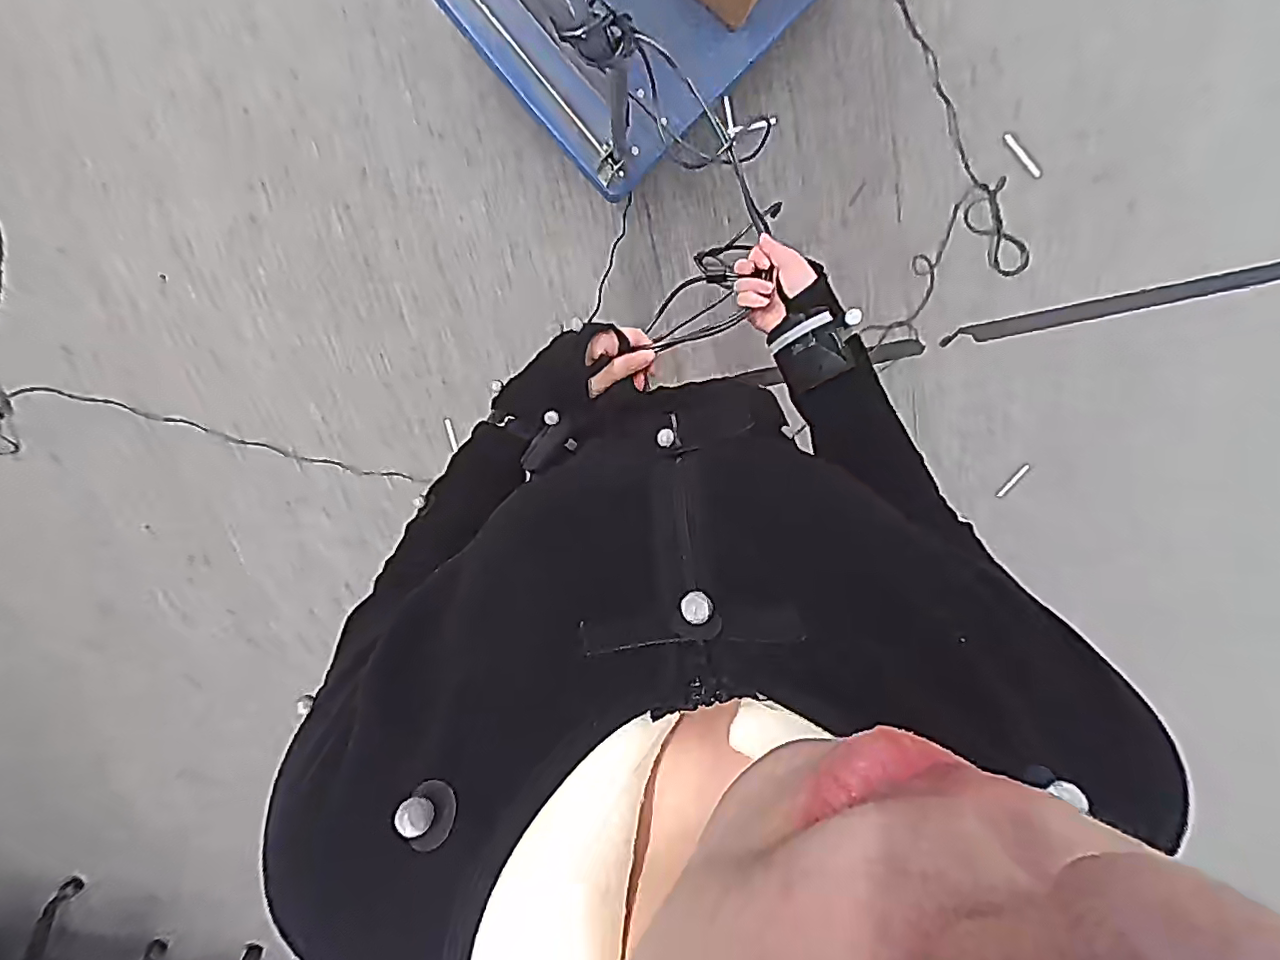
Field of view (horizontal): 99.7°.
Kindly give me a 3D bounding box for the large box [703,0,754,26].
[{"bbox_3d":[0.121,-1.092,0.882,0.408,0.320,0.320,31,102,-12],"label":"large box"}]
